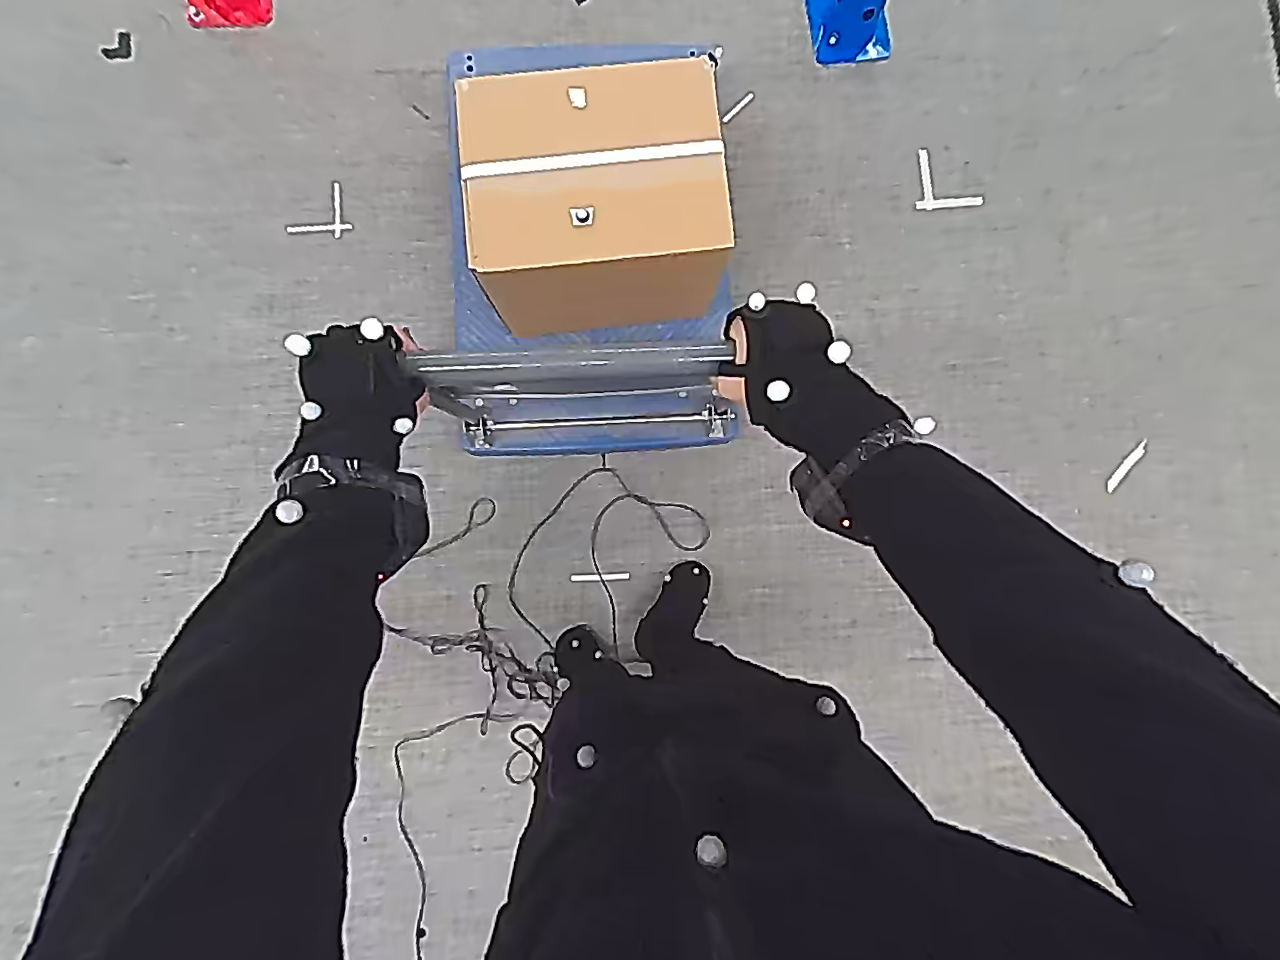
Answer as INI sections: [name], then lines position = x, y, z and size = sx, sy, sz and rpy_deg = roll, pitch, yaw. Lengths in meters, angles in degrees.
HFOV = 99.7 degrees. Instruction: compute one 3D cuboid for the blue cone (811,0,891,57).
[blue cone]
position = 0.545, -1.180, 1.211
size = 0.193, 0.380, 0.192
rpy_deg = -7, 86, -3
